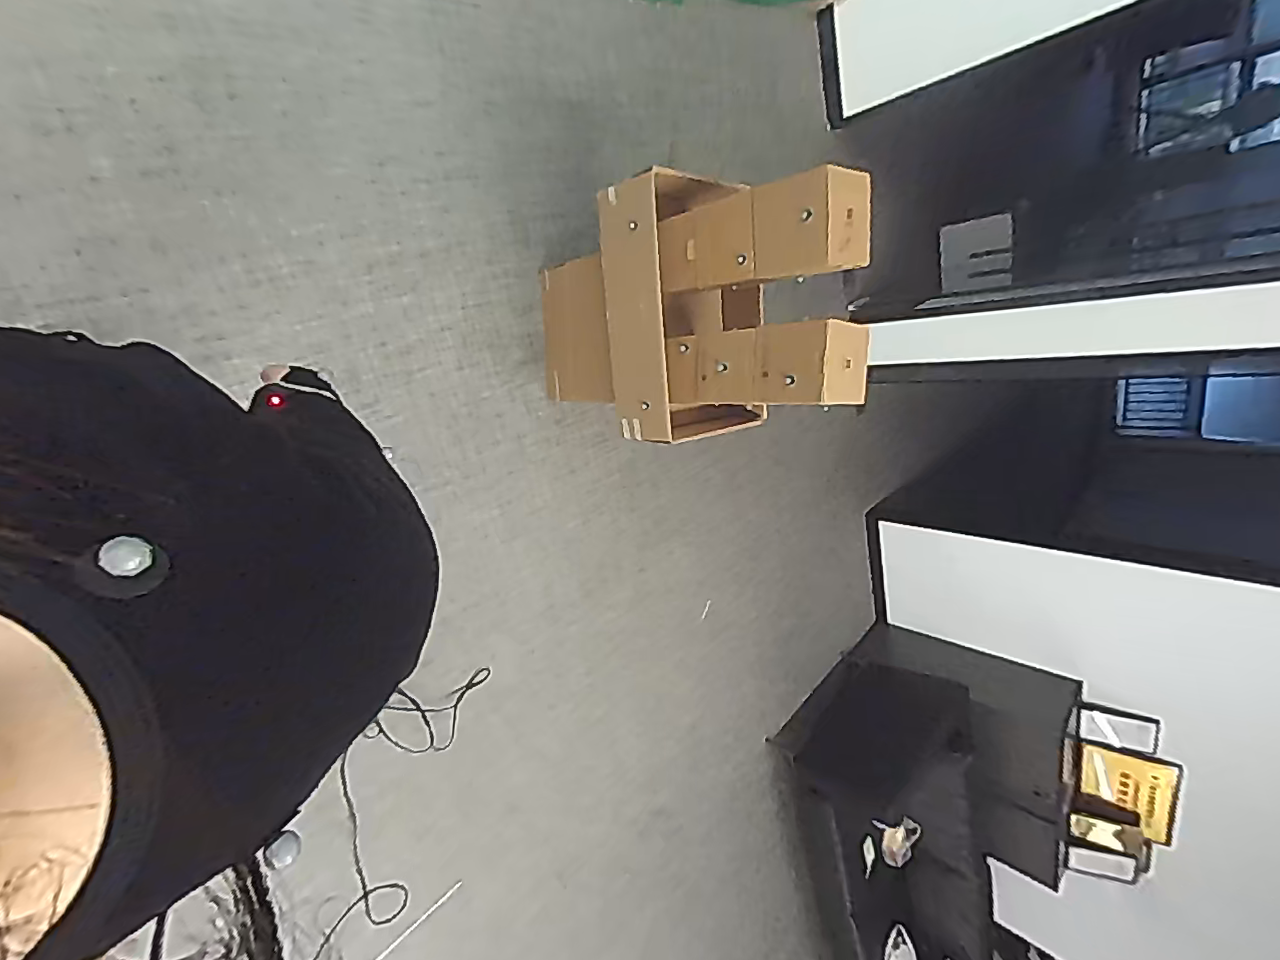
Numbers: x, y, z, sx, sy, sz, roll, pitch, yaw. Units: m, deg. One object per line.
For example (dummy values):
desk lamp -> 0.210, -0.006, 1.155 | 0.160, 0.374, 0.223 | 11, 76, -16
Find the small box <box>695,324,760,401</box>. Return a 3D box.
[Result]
small box -> 0.247, -0.273, 1.289 | 0.179, 0.176, 0.168 | -8, 103, -41

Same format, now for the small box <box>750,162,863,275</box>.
small box -> 0.339, -0.525, 1.110 | 0.168, 0.176, 0.179 | -19, 111, -39

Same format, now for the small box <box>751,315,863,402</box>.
small box -> 0.357, -0.254, 1.169 | 0.179, 0.176, 0.168 | -7, 102, -43

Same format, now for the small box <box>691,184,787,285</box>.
small box -> 0.230, -0.549, 1.231 | 0.168, 0.176, 0.179 | -18, 110, -39
